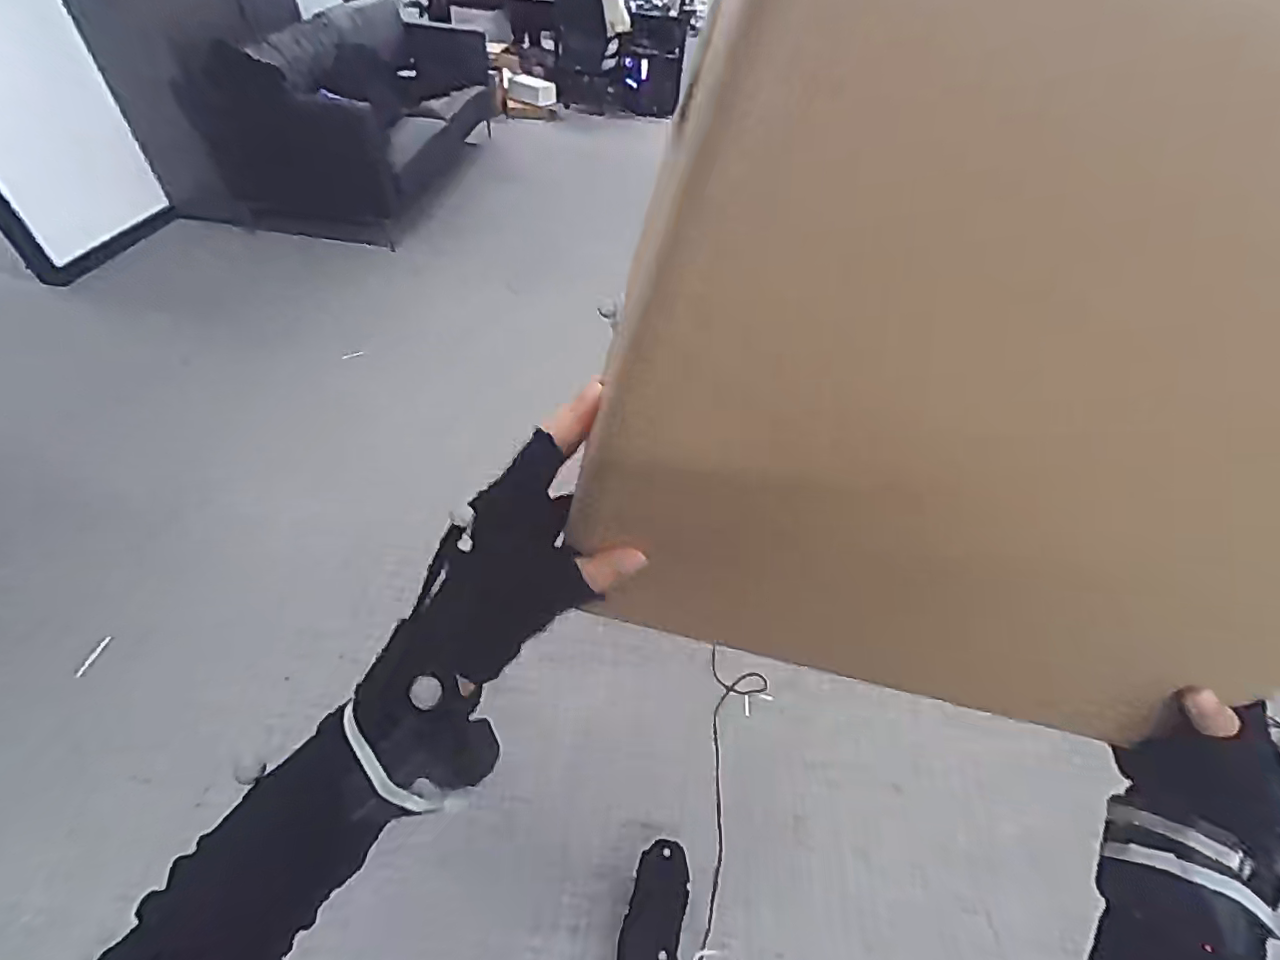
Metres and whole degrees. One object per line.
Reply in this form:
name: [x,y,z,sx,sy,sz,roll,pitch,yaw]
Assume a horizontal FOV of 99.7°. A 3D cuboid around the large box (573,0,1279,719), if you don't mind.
large box: [0.200,-0.087,0.350,0.408,0.320,0.320,17,44,-9]
